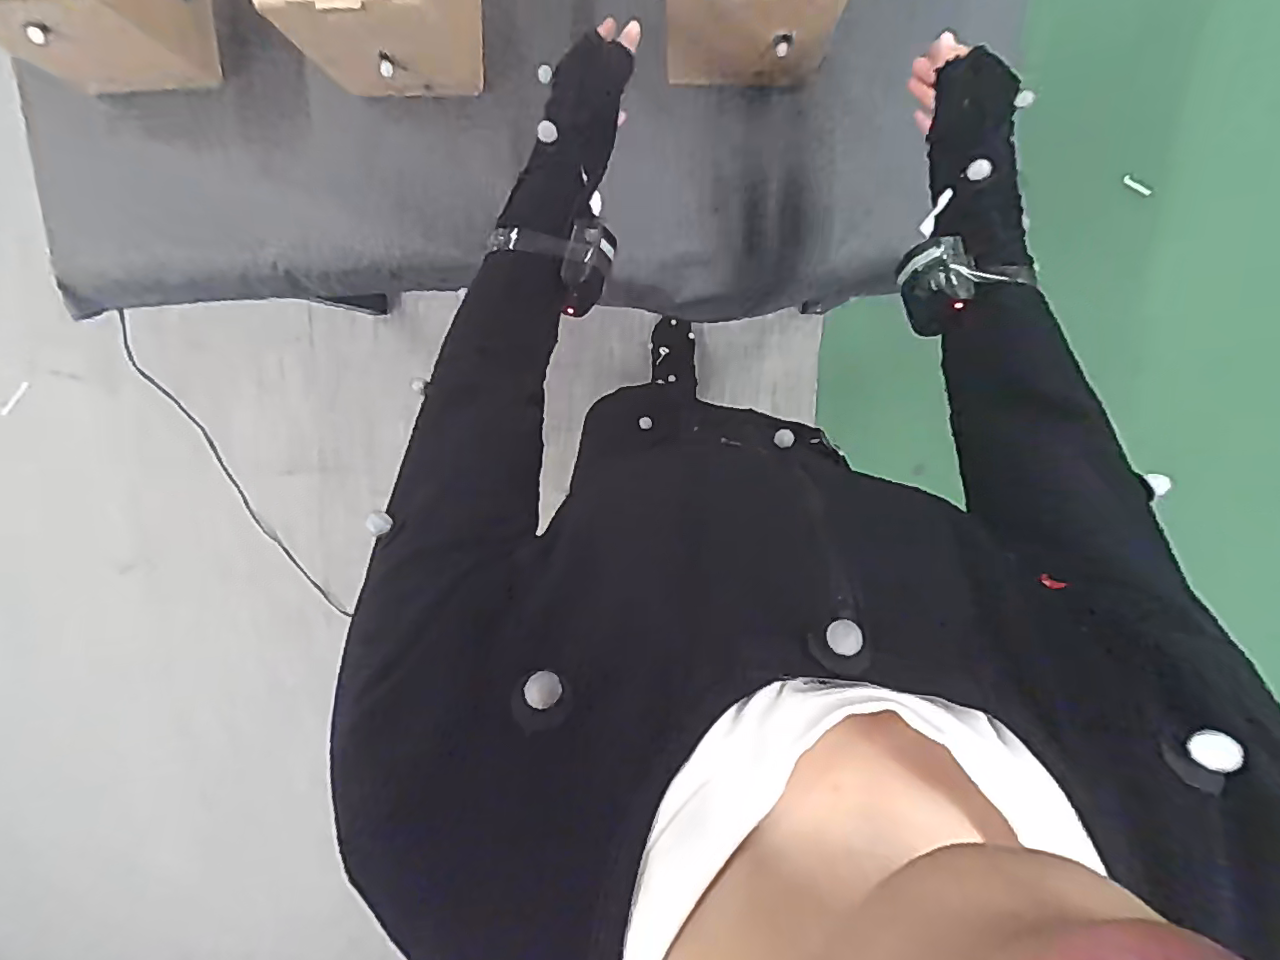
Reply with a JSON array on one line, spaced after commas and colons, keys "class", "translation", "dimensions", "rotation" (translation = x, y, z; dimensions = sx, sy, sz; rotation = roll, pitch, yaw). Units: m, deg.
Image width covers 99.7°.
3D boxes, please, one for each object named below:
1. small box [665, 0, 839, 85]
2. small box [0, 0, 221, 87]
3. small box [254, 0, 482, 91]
[{"class": "small box", "translation": [0.112, -0.531, 0.540], "dimensions": [0.168, 0.176, 0.179], "rotation": [2, 99, 2]}, {"class": "small box", "translation": [-0.602, -0.550, 0.574], "dimensions": [0.179, 0.176, 0.168], "rotation": [-1, 100, 2]}, {"class": "small box", "translation": [-0.271, -0.535, 0.559], "dimensions": [0.168, 0.176, 0.179], "rotation": [2, 101, 3]}]
